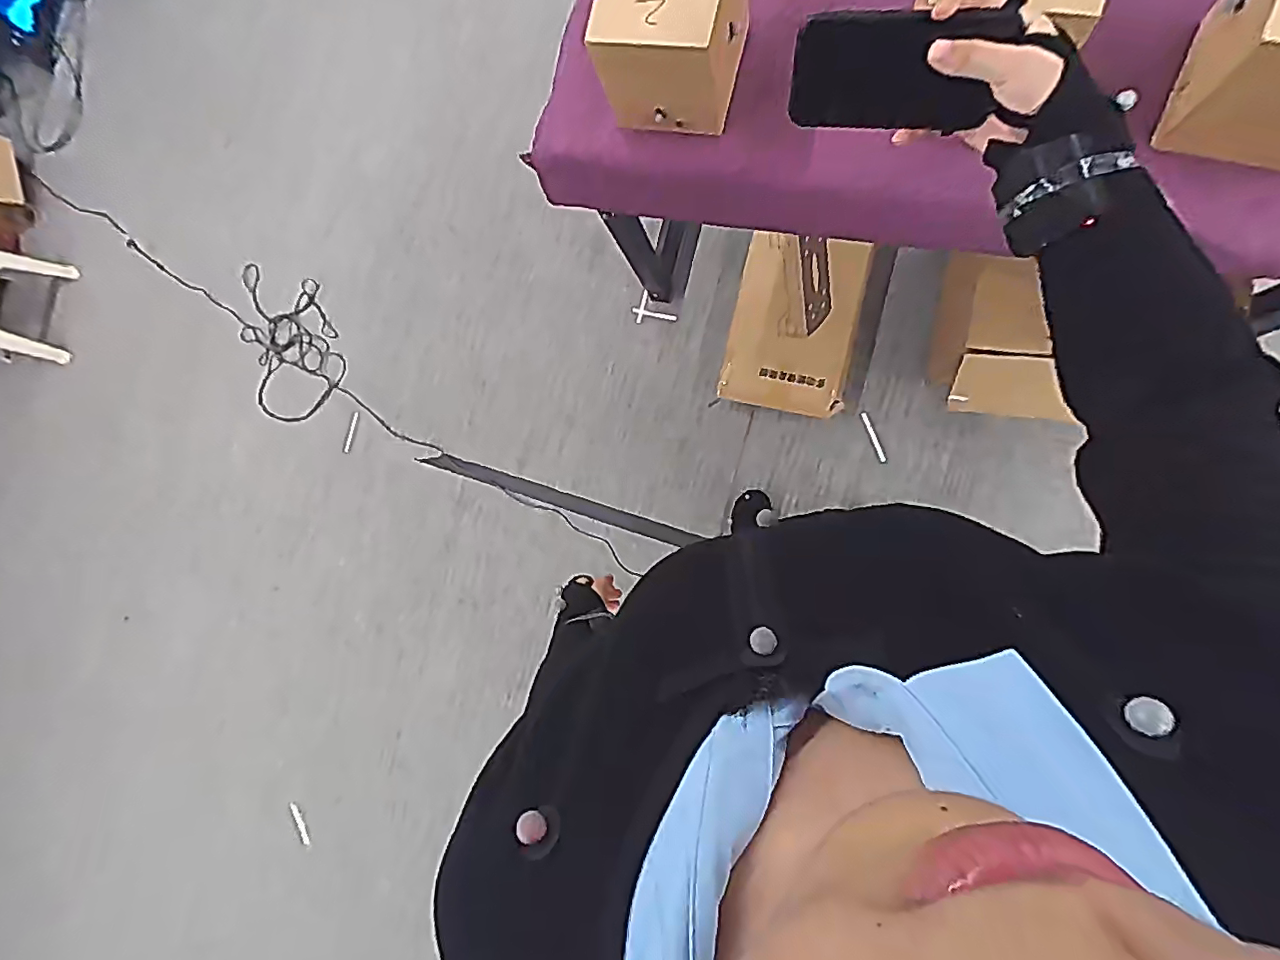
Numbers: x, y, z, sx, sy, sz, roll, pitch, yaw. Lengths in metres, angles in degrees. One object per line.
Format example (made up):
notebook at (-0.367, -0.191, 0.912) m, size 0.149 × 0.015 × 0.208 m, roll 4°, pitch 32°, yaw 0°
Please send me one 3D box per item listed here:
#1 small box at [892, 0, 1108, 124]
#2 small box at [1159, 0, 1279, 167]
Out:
small box at (0.425, -0.561, 0.644) m, size 0.179 × 0.176 × 0.168 m, roll 14°, pitch 89°, yaw 14°
small box at (0.719, -0.464, 0.568) m, size 0.179 × 0.176 × 0.168 m, roll 21°, pitch 93°, yaw 14°
